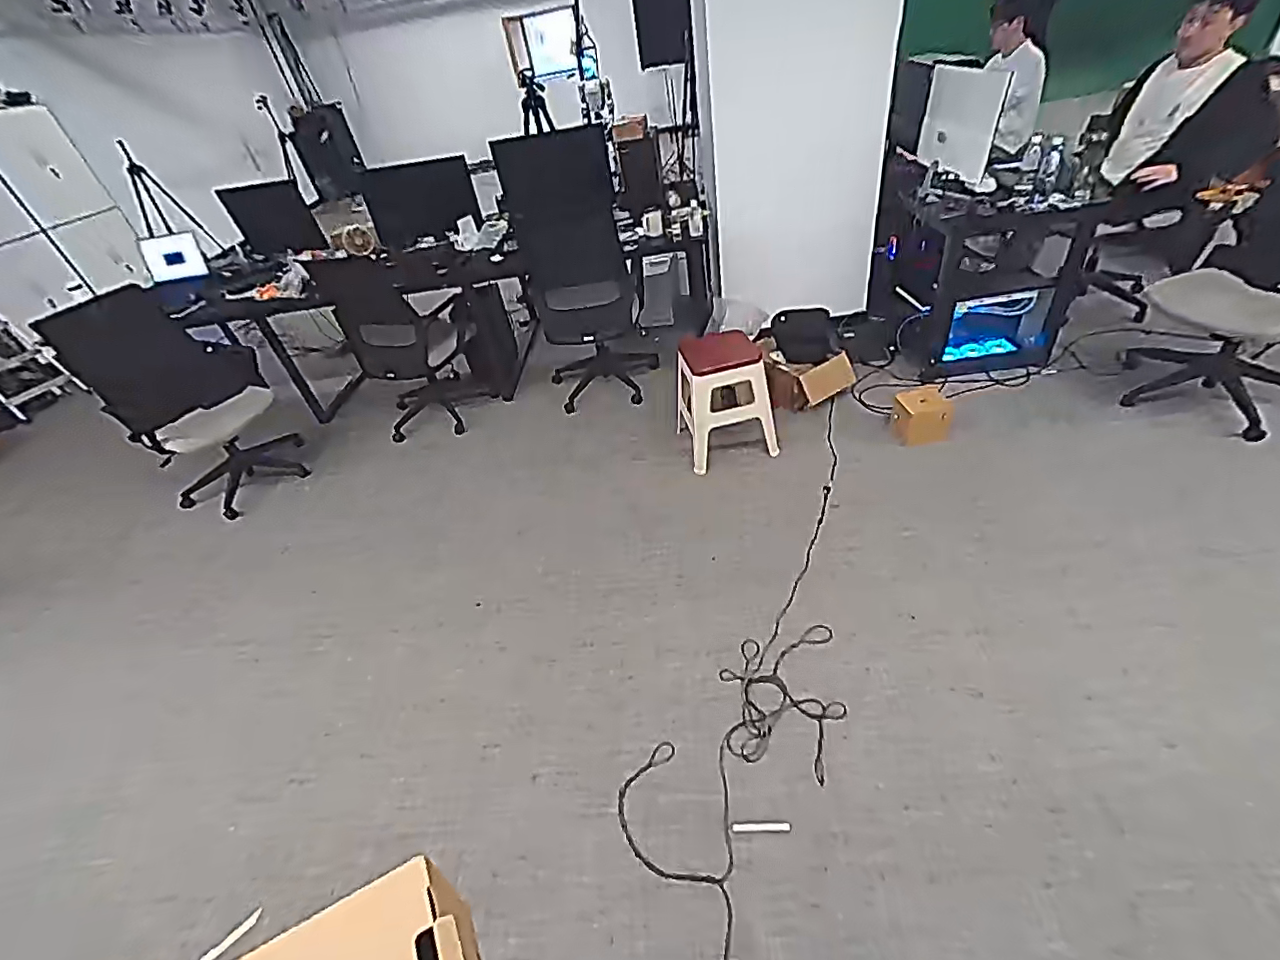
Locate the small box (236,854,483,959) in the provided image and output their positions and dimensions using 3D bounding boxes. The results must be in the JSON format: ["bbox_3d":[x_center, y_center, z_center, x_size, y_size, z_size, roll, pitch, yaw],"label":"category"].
[{"bbox_3d":[-0.236,0.487,0.475,0.179,0.176,0.168,-21,42,-21],"label":"small box"}]
